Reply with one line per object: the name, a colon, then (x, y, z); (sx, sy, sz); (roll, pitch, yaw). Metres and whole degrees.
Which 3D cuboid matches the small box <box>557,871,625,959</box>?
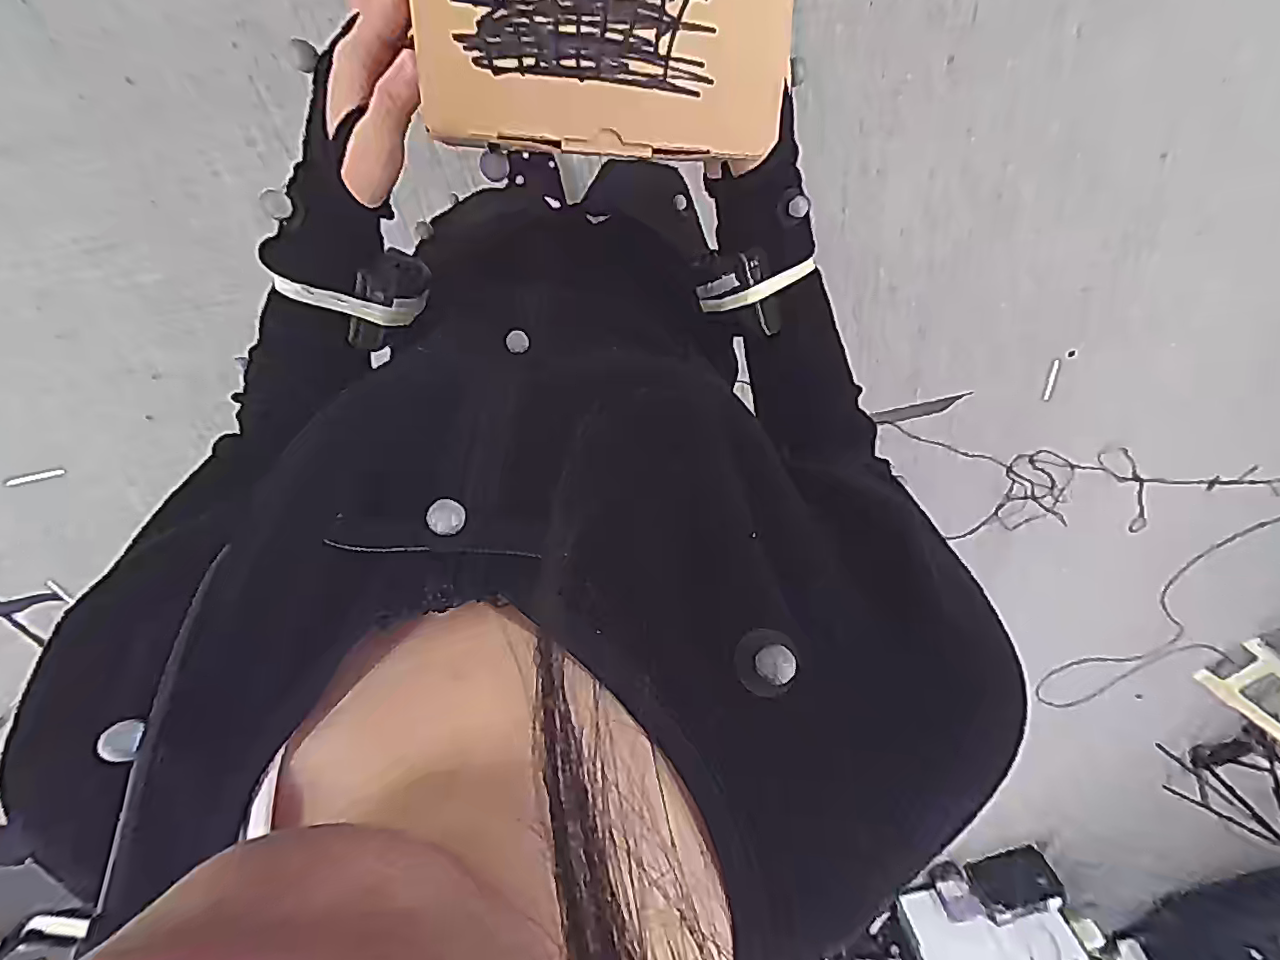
small box: (-0.139, 1.243, 1.525); (0.168, 0.176, 0.179); (-9, 125, -5)
